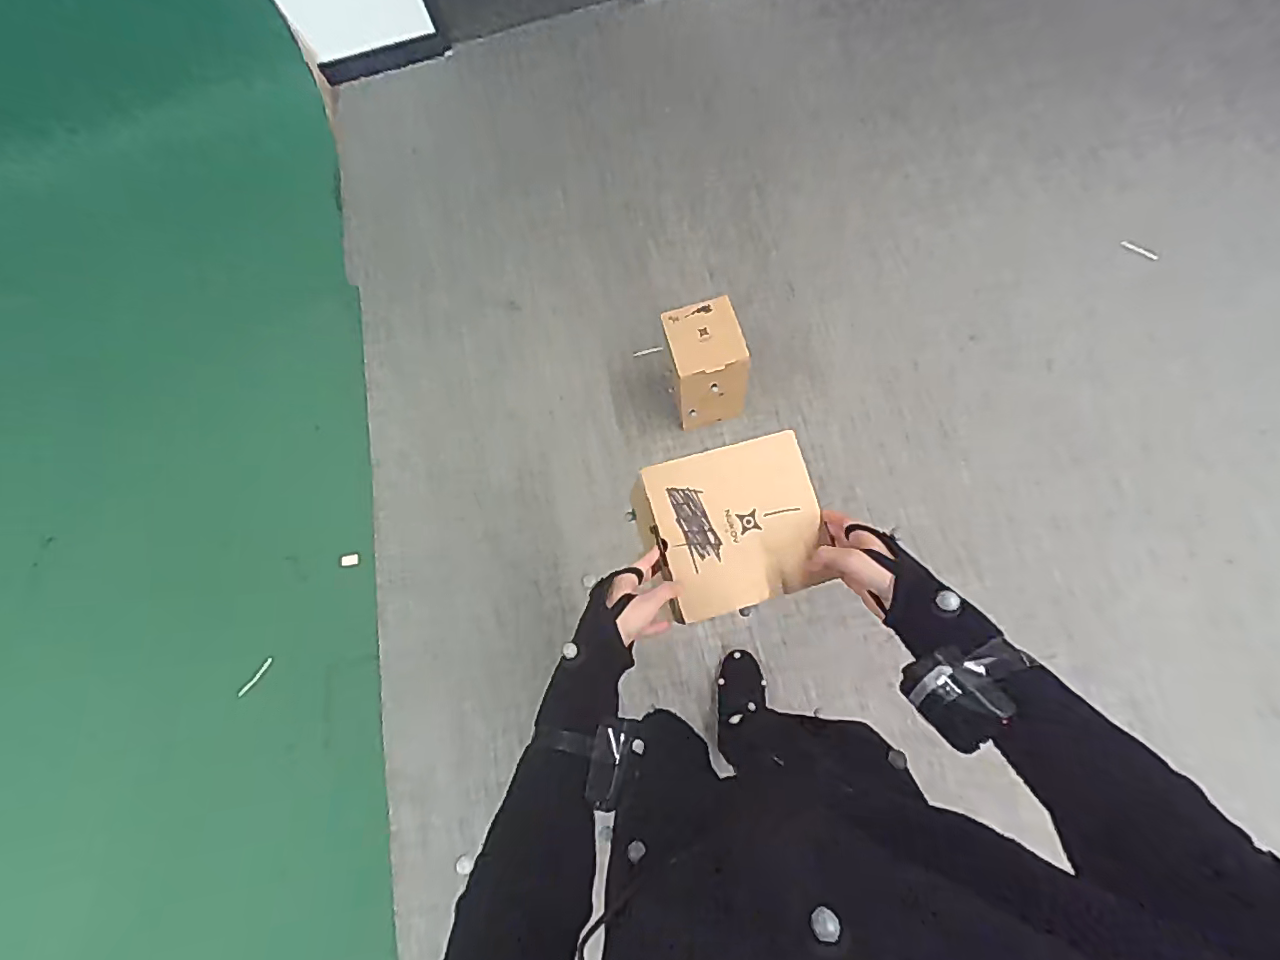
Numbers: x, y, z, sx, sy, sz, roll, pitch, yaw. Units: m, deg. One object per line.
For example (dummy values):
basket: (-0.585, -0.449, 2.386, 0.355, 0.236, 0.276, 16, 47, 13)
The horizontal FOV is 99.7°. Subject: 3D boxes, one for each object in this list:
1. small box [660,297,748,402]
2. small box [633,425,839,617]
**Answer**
small box: (0.153, -0.302, 1.300, 0.168, 0.176, 0.179, -15, 73, 1)
small box: (0.093, 0.055, 0.629, 0.179, 0.176, 0.168, -15, 81, -8)
